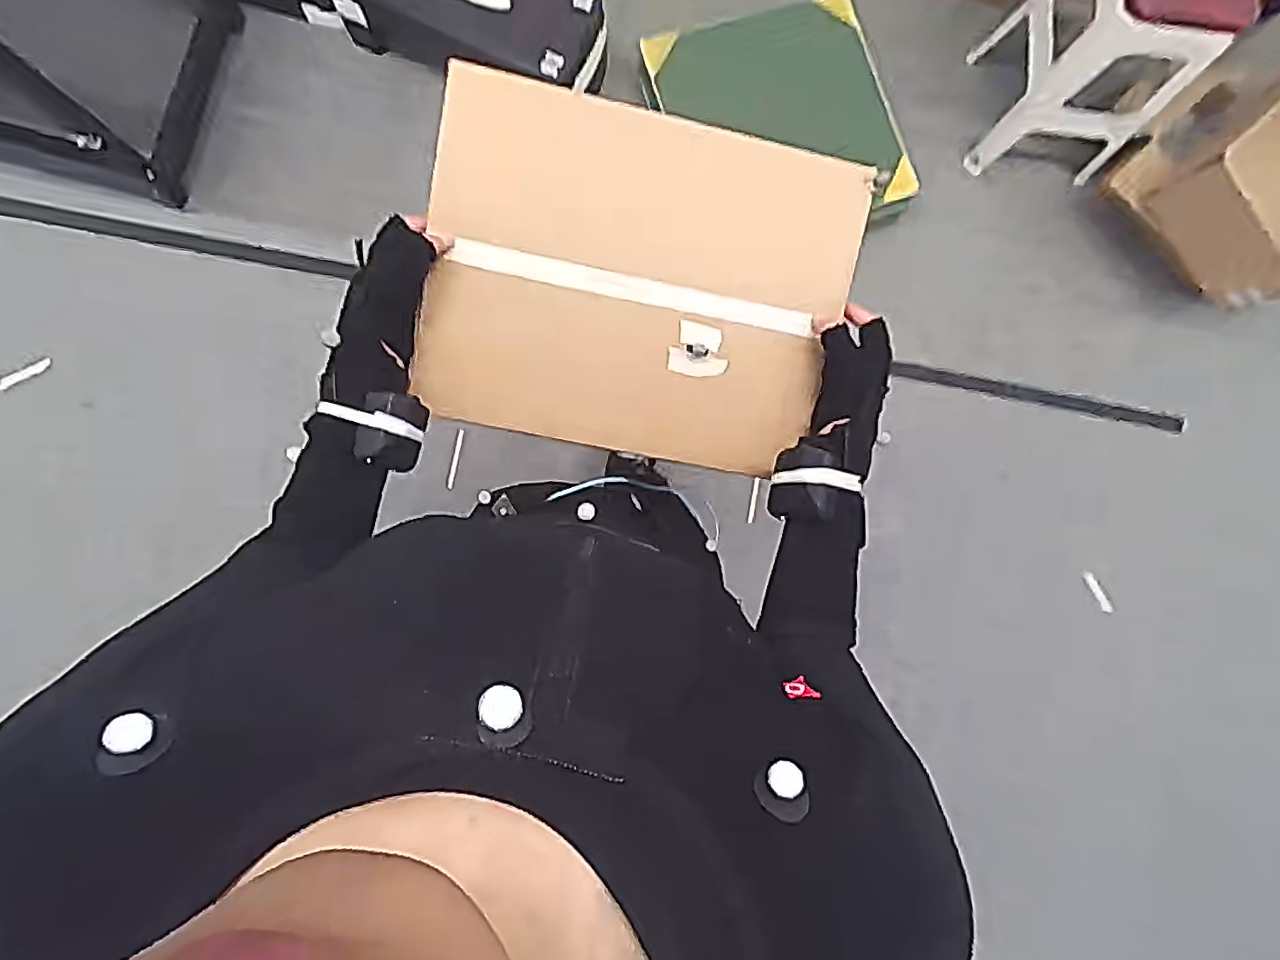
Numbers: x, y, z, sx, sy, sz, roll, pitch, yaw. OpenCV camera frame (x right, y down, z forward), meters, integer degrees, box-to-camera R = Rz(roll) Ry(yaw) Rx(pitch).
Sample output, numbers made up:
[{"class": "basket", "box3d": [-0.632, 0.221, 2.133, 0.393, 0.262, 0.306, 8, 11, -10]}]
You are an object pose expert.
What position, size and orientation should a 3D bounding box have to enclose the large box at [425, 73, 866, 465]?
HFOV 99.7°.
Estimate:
[{"class": "large box", "box3d": [-0.009, -0.216, 0.679, 0.408, 0.320, 0.320, 10, 99, -7]}]
